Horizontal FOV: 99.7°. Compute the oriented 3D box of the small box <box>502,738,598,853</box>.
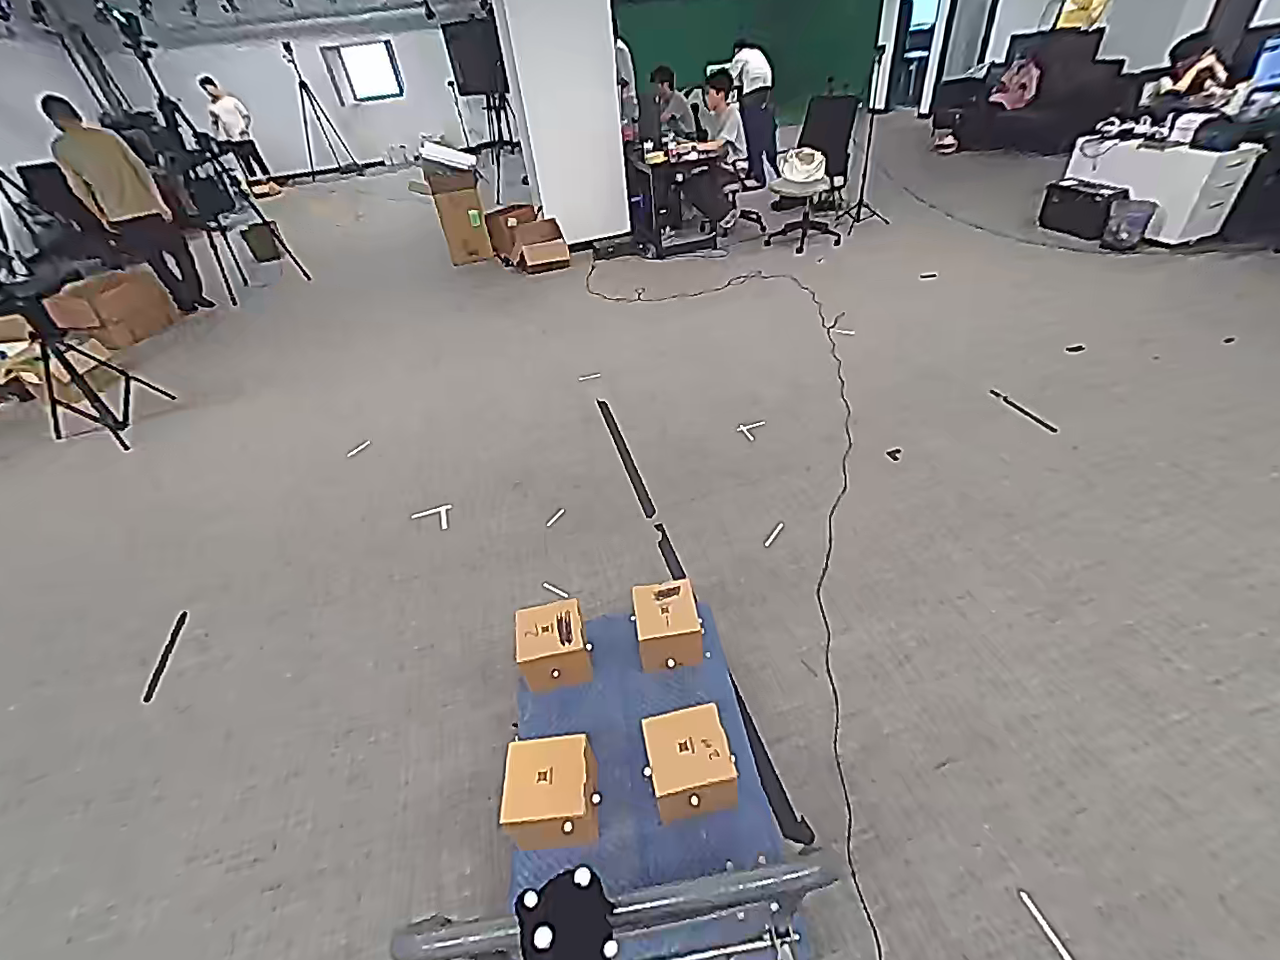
[{"bbox_3d":[-0.191,0.700,1.195,0.179,0.176,0.168,-6,39,-1],"label":"small box"}]

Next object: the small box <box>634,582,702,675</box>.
[{"bbox_3d":[0.077,0.412,1.500,0.168,0.176,0.179,-9,40,-1],"label":"small box"}]

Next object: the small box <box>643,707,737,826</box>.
[{"bbox_3d":[0.113,0.643,1.211,0.179,0.176,0.168,-12,39,-4],"label":"small box"}]
